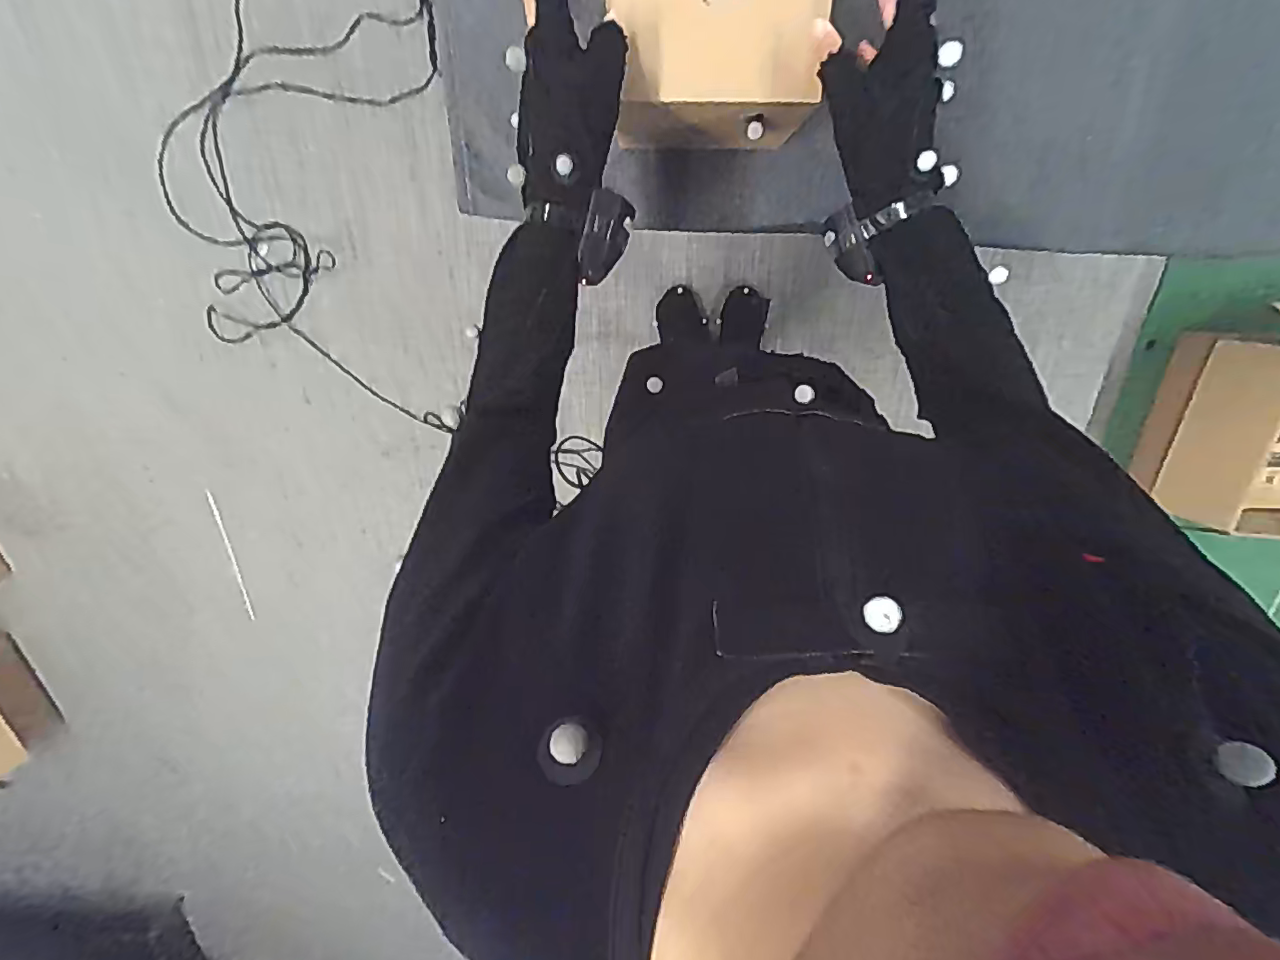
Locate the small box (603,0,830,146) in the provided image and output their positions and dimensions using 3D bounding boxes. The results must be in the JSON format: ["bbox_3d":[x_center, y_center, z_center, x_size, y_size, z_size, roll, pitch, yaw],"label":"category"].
[{"bbox_3d":[0.061,-0.410,0.480,0.179,0.176,0.168,1,111,2],"label":"small box"}]
